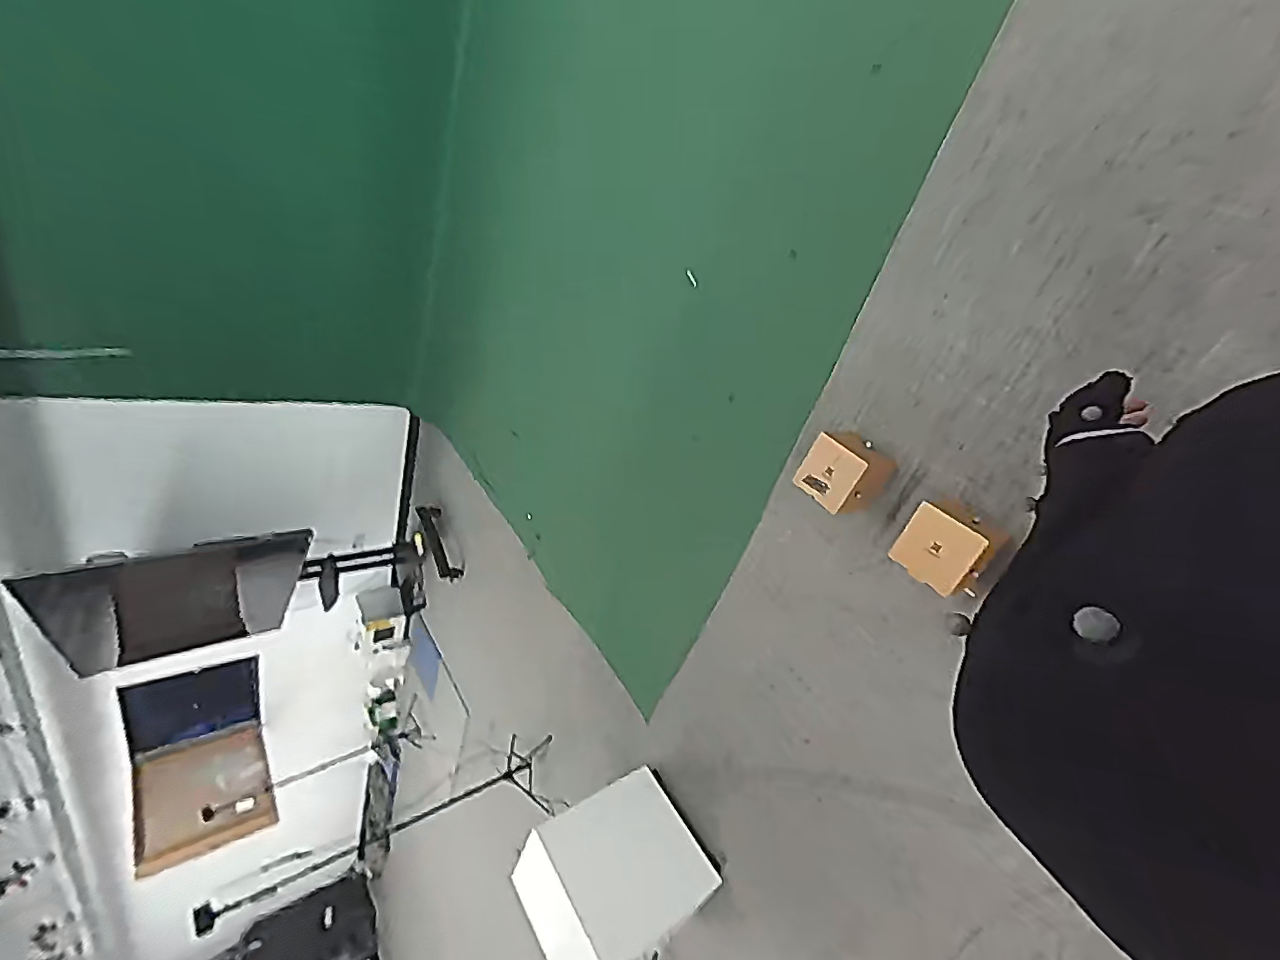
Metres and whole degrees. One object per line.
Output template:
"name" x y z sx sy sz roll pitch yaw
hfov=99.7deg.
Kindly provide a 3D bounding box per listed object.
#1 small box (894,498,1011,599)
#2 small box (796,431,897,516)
"small box" 0.770 0.158 1.324 0.168 0.176 0.179 42 125 39
"small box" 0.585 -0.021 1.523 0.168 0.176 0.179 46 125 36
